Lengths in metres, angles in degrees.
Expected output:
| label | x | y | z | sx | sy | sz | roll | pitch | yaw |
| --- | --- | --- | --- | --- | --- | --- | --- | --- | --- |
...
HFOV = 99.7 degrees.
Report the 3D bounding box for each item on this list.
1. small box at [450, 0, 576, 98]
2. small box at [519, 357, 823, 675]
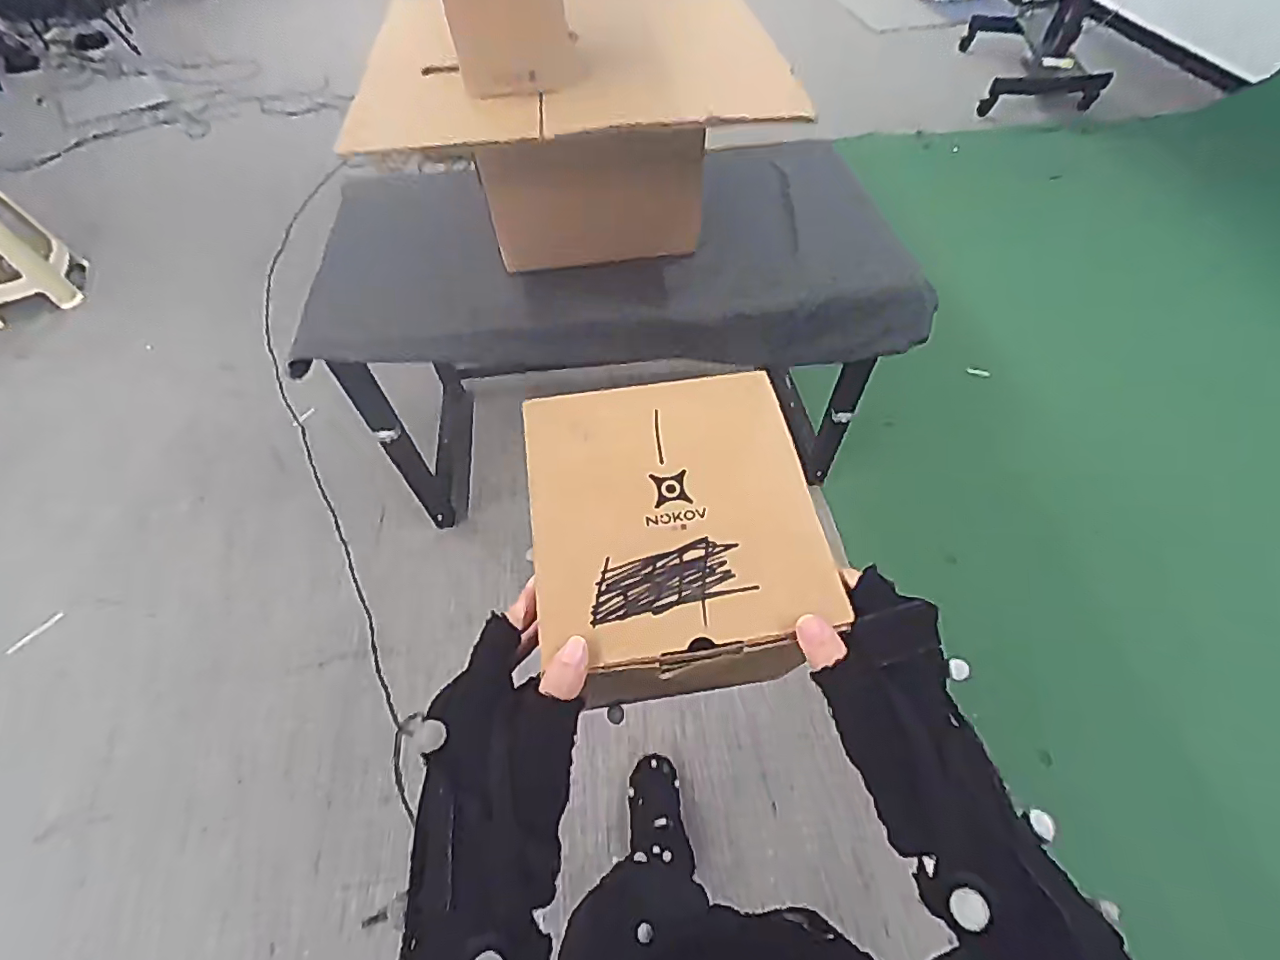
| label | x | y | z | sx | sy | sz | roll | pitch | yaw |
| --- | --- | --- | --- | --- | --- | --- | --- | --- | --- |
| small box | -0.190 | -0.712 | 0.823 | 0.168 | 0.176 | 0.179 | -6 | 56 | -2 |
| small box | 0.011 | 0.038 | 0.400 | 0.168 | 0.176 | 0.179 | -7 | 61 | -4 |
